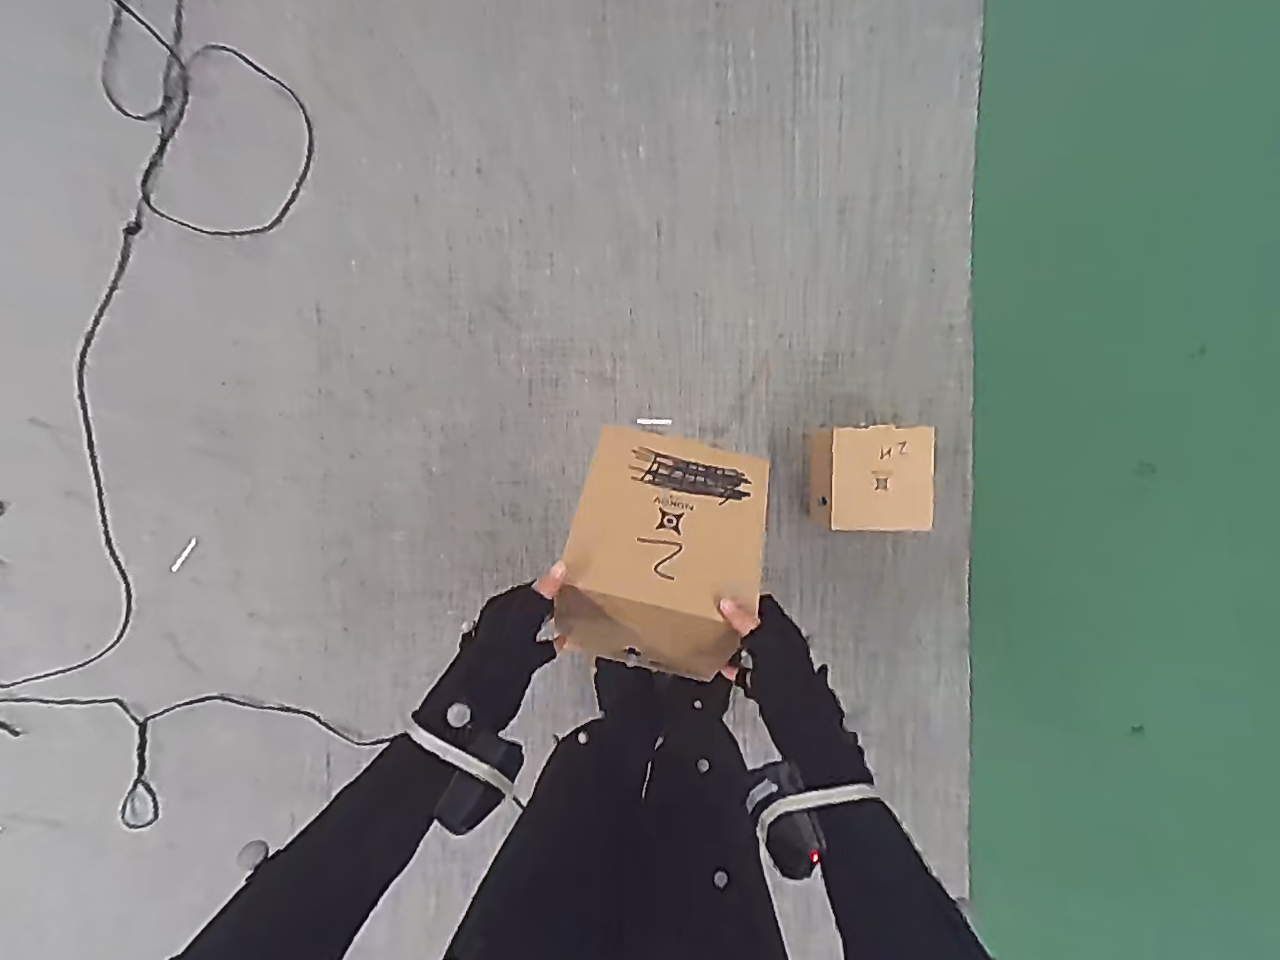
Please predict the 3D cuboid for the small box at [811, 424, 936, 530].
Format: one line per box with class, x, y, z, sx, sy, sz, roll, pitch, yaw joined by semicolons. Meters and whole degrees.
small box;0.410;-0.009;0.974;0.168;0.176;0.179;0;92;5
